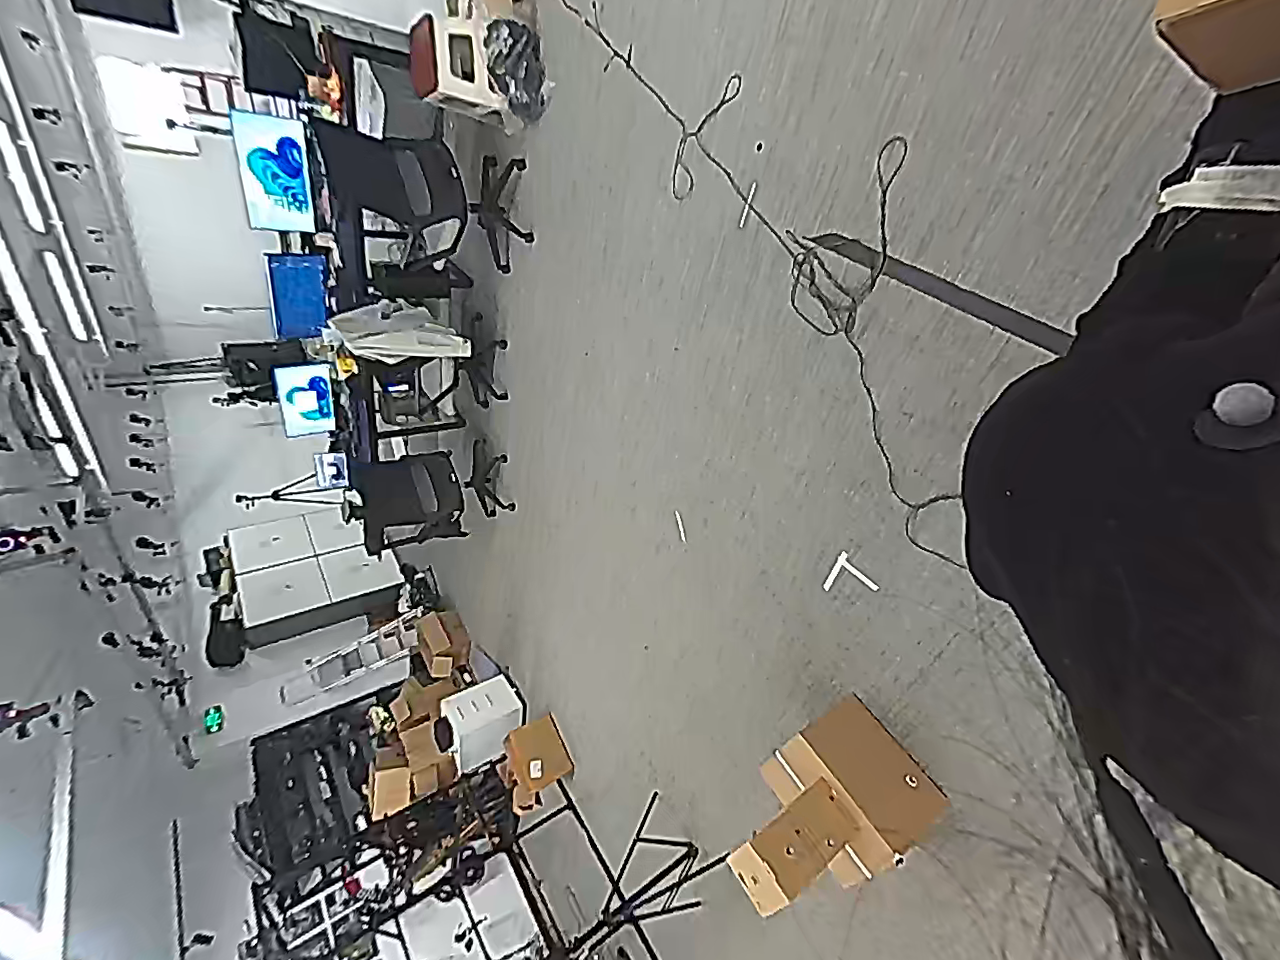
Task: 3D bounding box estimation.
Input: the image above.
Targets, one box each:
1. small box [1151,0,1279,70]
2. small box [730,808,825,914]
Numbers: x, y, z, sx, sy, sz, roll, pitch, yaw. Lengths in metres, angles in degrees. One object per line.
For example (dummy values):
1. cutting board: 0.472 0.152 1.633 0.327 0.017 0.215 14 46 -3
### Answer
1. small box: 0.324 -0.282 0.193 0.168 0.176 0.179 13 114 50
2. small box: 0.395 1.076 1.535 0.168 0.176 0.179 50 137 32
